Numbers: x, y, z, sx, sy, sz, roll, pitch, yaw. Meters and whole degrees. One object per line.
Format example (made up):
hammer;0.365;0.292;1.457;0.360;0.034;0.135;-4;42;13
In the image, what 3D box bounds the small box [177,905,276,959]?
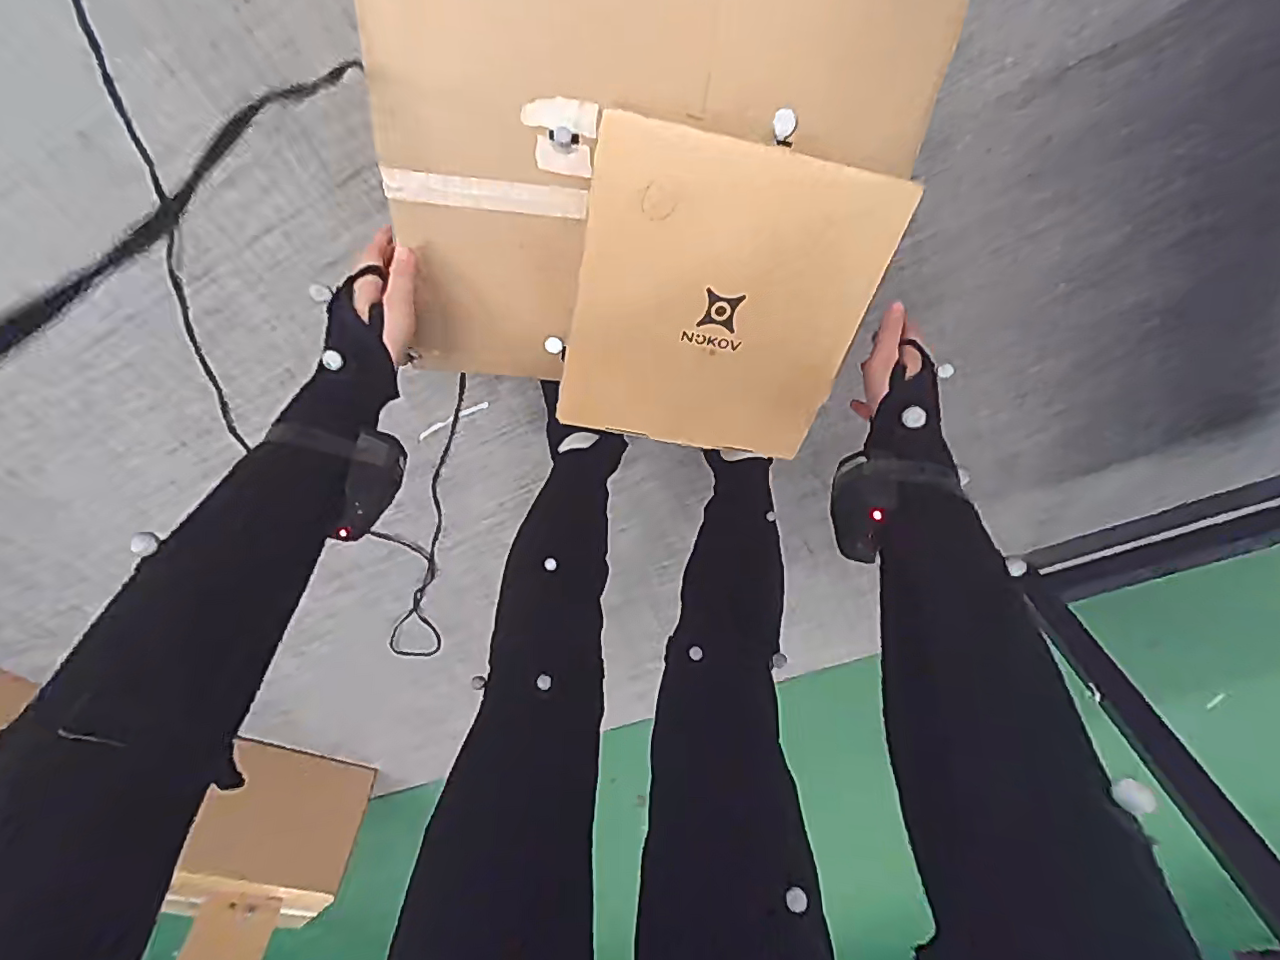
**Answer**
small box;-0.980;1.122;1.252;0.168;0.176;0.179;25;121;-20
